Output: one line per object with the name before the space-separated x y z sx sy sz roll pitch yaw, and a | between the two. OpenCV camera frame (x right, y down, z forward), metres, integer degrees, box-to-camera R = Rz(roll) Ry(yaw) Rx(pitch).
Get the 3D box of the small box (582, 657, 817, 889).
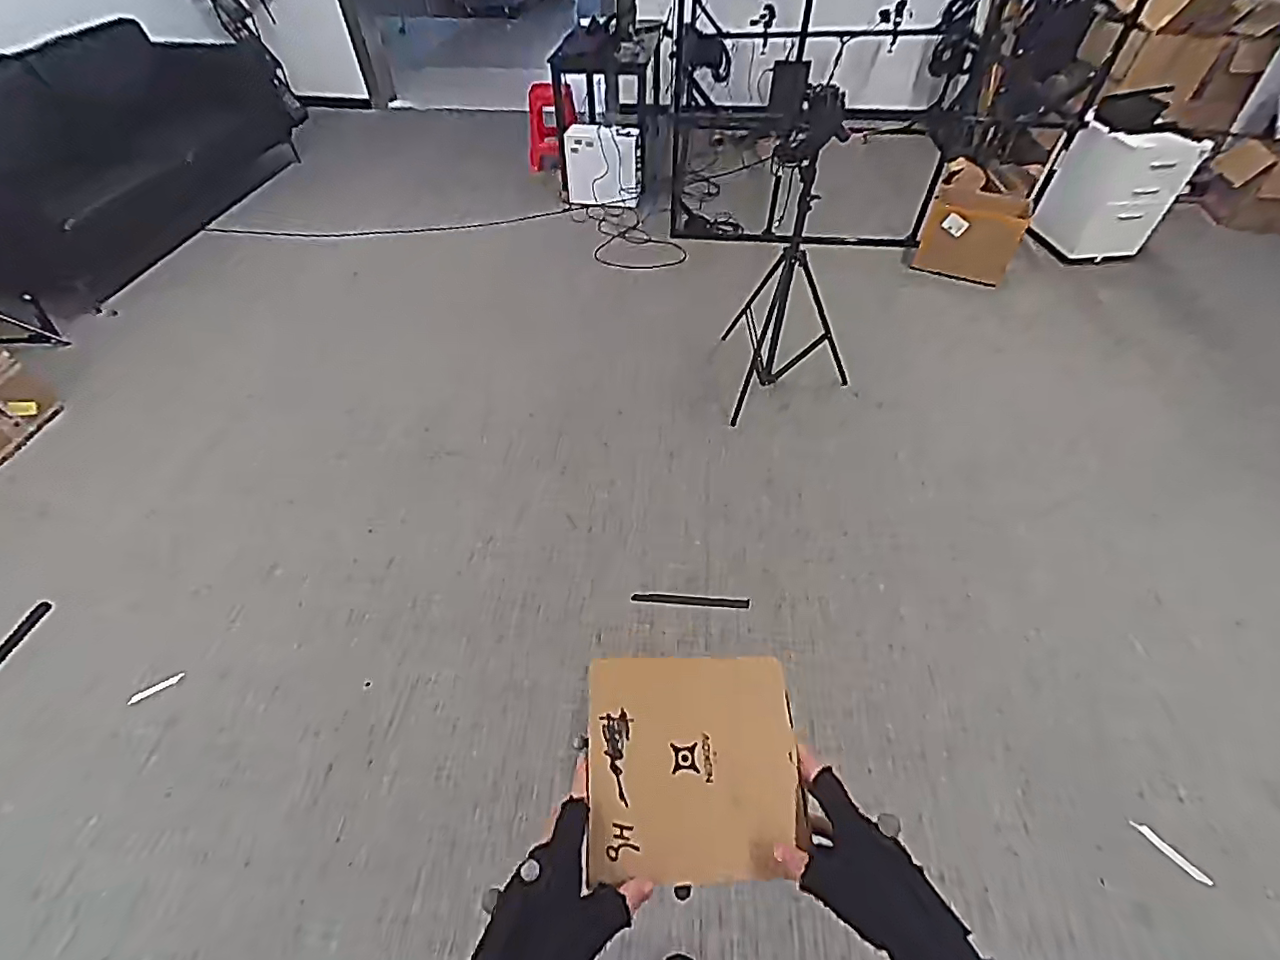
small box | 0.038 0.272 0.505 0.179 0.176 0.168 2 55 -5
